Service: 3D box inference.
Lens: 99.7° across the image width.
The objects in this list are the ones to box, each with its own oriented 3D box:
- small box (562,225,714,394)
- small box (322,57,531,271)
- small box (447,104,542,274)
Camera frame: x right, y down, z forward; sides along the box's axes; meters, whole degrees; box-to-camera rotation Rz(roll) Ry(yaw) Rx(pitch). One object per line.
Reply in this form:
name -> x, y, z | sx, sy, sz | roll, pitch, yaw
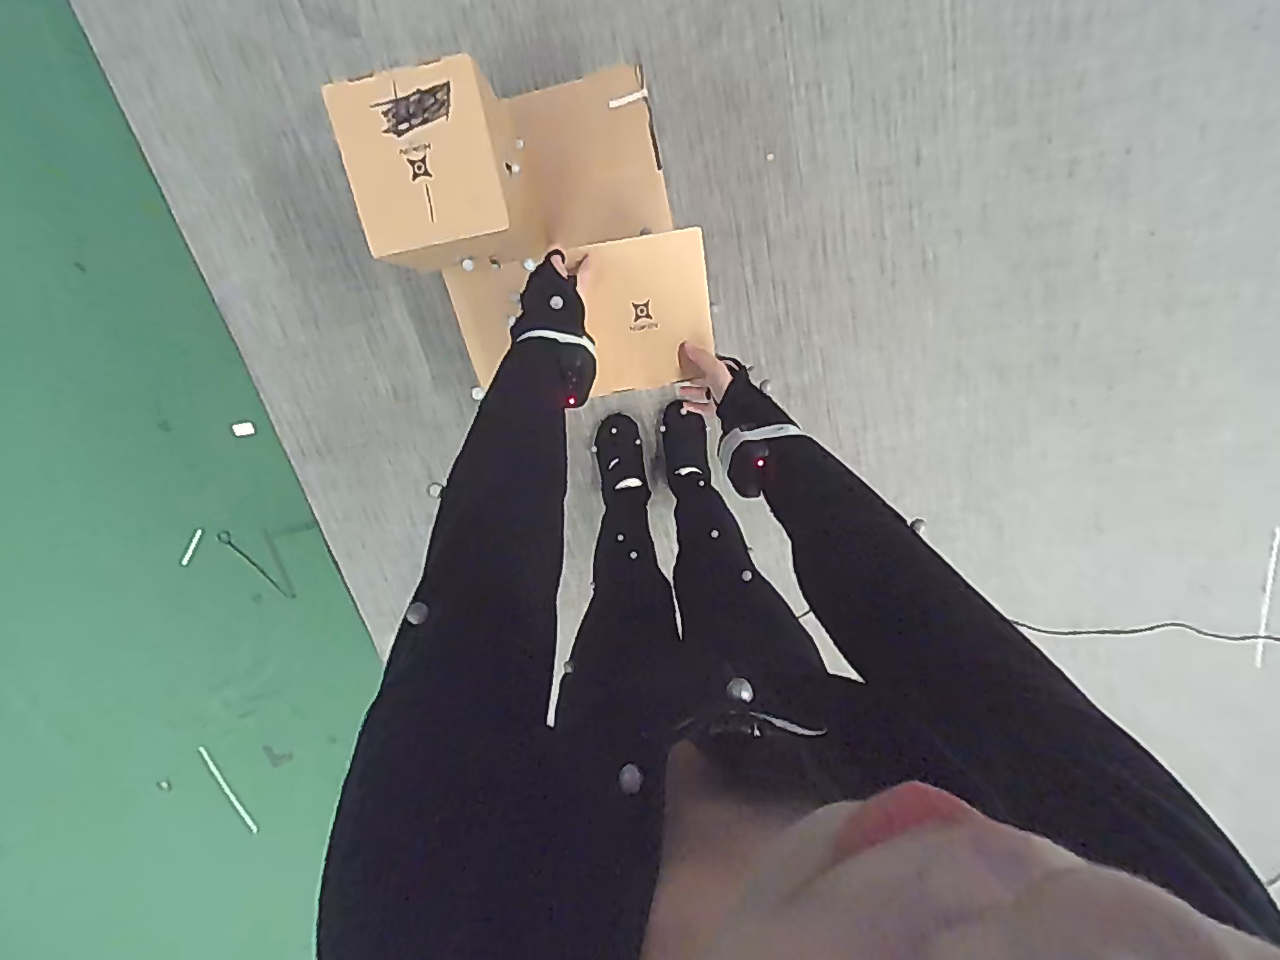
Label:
small box -> -0.005, -0.223, 0.725 | 0.168, 0.176, 0.179 | -10, 108, 0
small box -> -0.246, -0.372, 0.670 | 0.168, 0.176, 0.179 | -11, 106, 3
small box -> -0.259, -0.429, 0.825 | 0.168, 0.176, 0.179 | -13, 105, 3
